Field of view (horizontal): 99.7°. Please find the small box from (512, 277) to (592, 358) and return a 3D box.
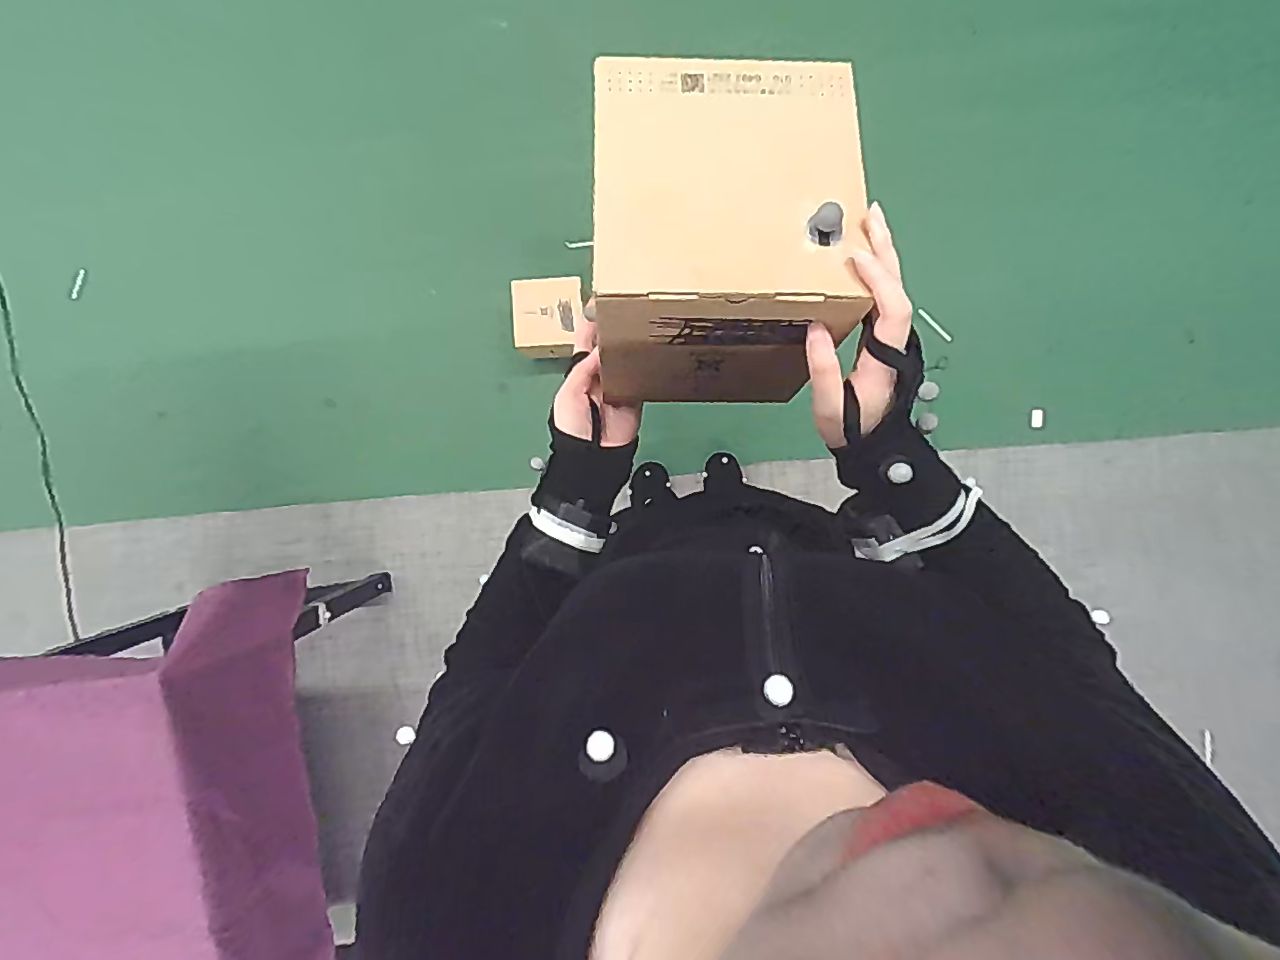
[{"bbox_3d":[-0.222,-0.418,1.411,0.179,0.176,0.168,-2,93,4],"label":"small box"}]
